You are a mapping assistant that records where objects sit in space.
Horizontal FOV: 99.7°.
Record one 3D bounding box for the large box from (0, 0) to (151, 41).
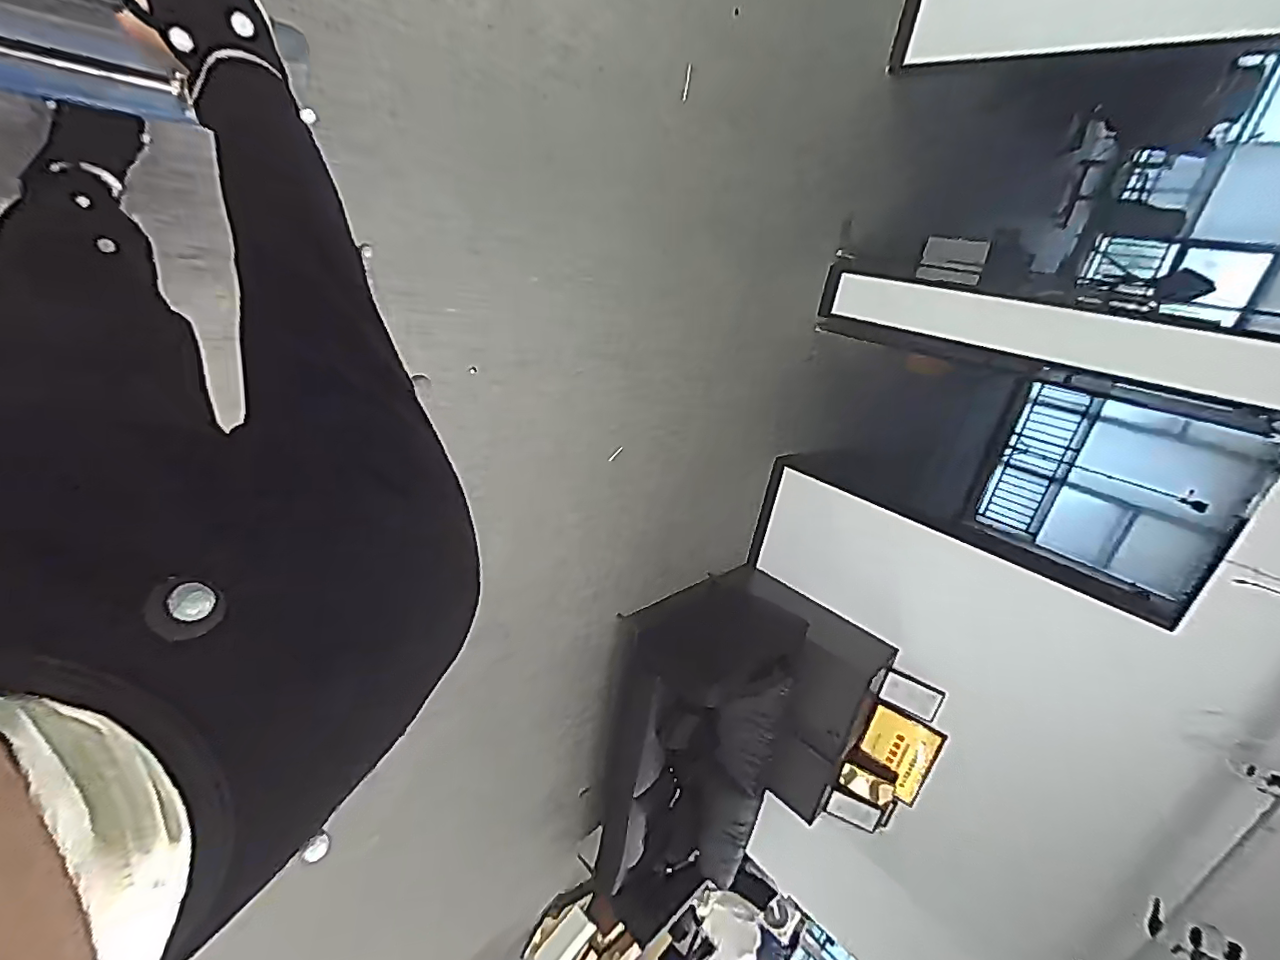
[{"bbox_3d":[-0.837,-0.822,0.631,0.320,0.320,0.408,-16,123,-43],"label":"large box"}]
